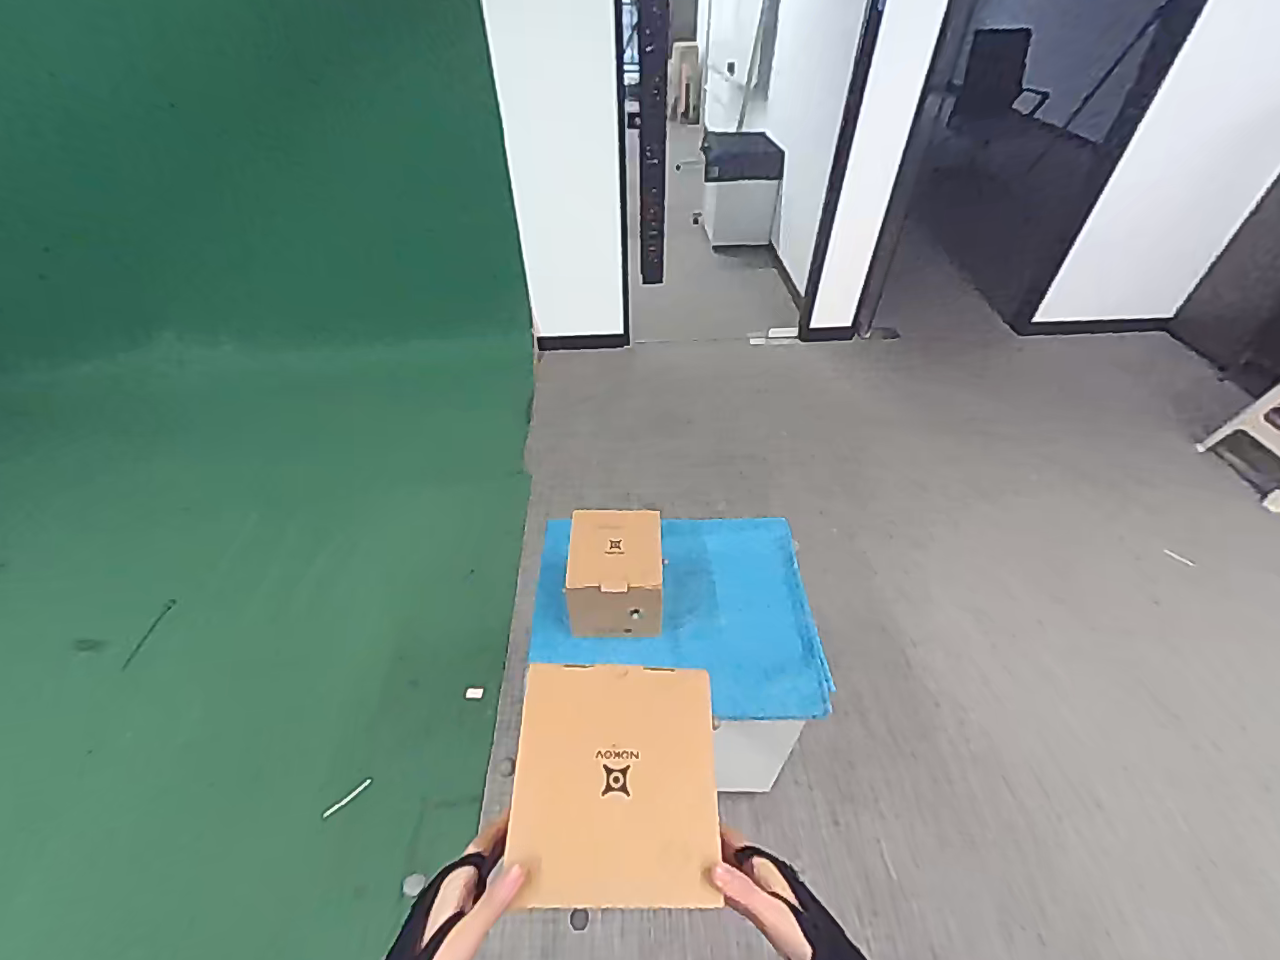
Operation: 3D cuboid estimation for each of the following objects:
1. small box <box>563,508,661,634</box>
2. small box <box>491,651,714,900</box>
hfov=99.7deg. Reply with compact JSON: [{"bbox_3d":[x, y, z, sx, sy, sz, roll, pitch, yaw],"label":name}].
[{"bbox_3d":[-0.045,0.172,1.010,0.168,0.176,0.179,1,44,0],"label":"small box"},{"bbox_3d":[-0.032,0.277,0.501,0.168,0.176,0.179,5,52,-5],"label":"small box"}]
